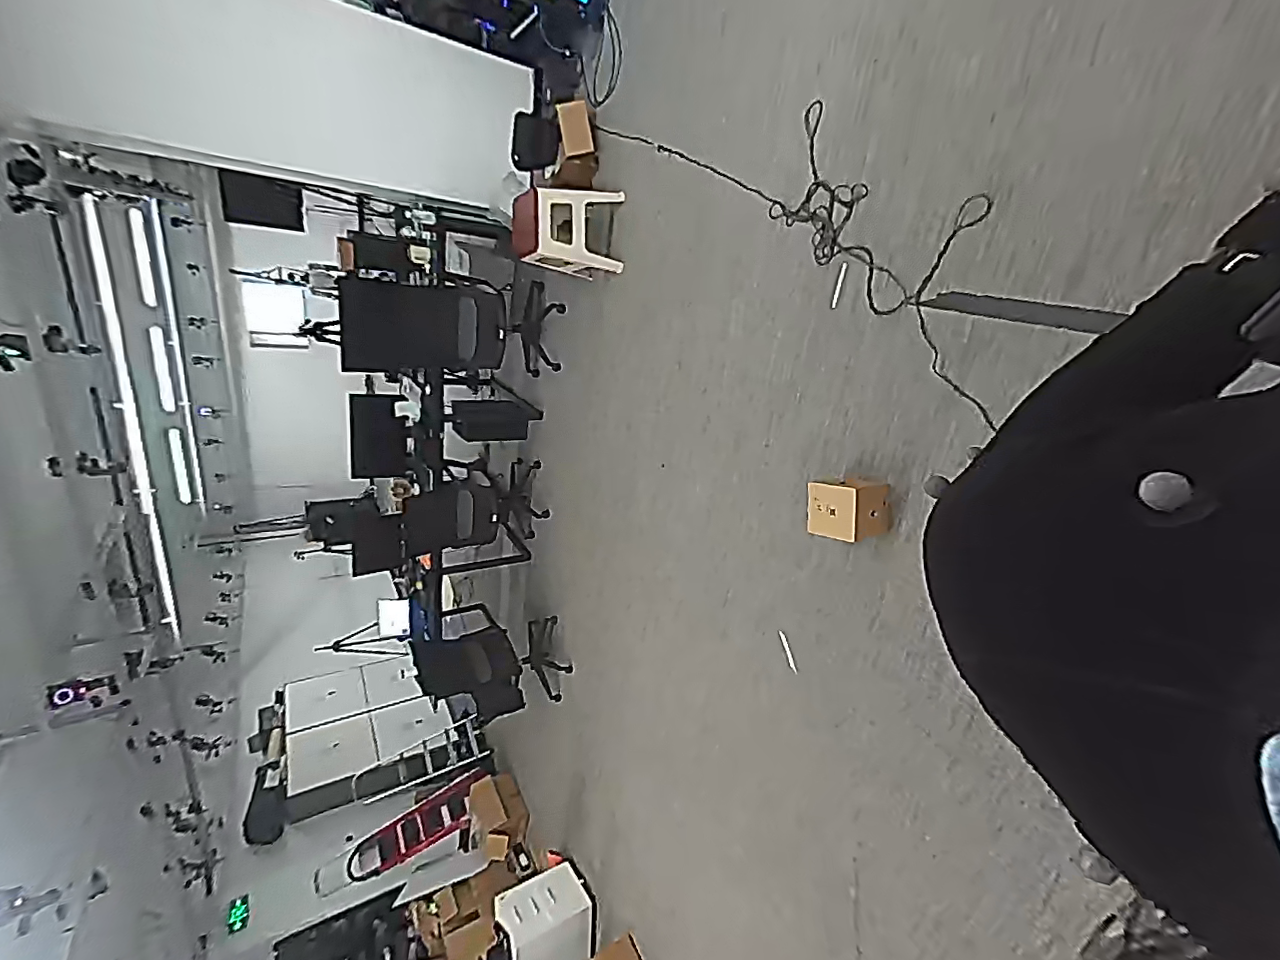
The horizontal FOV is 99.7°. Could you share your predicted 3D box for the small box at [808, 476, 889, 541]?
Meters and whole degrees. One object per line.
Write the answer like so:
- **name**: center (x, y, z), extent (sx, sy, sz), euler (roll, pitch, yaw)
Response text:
- **small box**: center (0.650, 0.083, 1.681), extent (0.179, 0.176, 0.168), euler (12, 105, 57)
